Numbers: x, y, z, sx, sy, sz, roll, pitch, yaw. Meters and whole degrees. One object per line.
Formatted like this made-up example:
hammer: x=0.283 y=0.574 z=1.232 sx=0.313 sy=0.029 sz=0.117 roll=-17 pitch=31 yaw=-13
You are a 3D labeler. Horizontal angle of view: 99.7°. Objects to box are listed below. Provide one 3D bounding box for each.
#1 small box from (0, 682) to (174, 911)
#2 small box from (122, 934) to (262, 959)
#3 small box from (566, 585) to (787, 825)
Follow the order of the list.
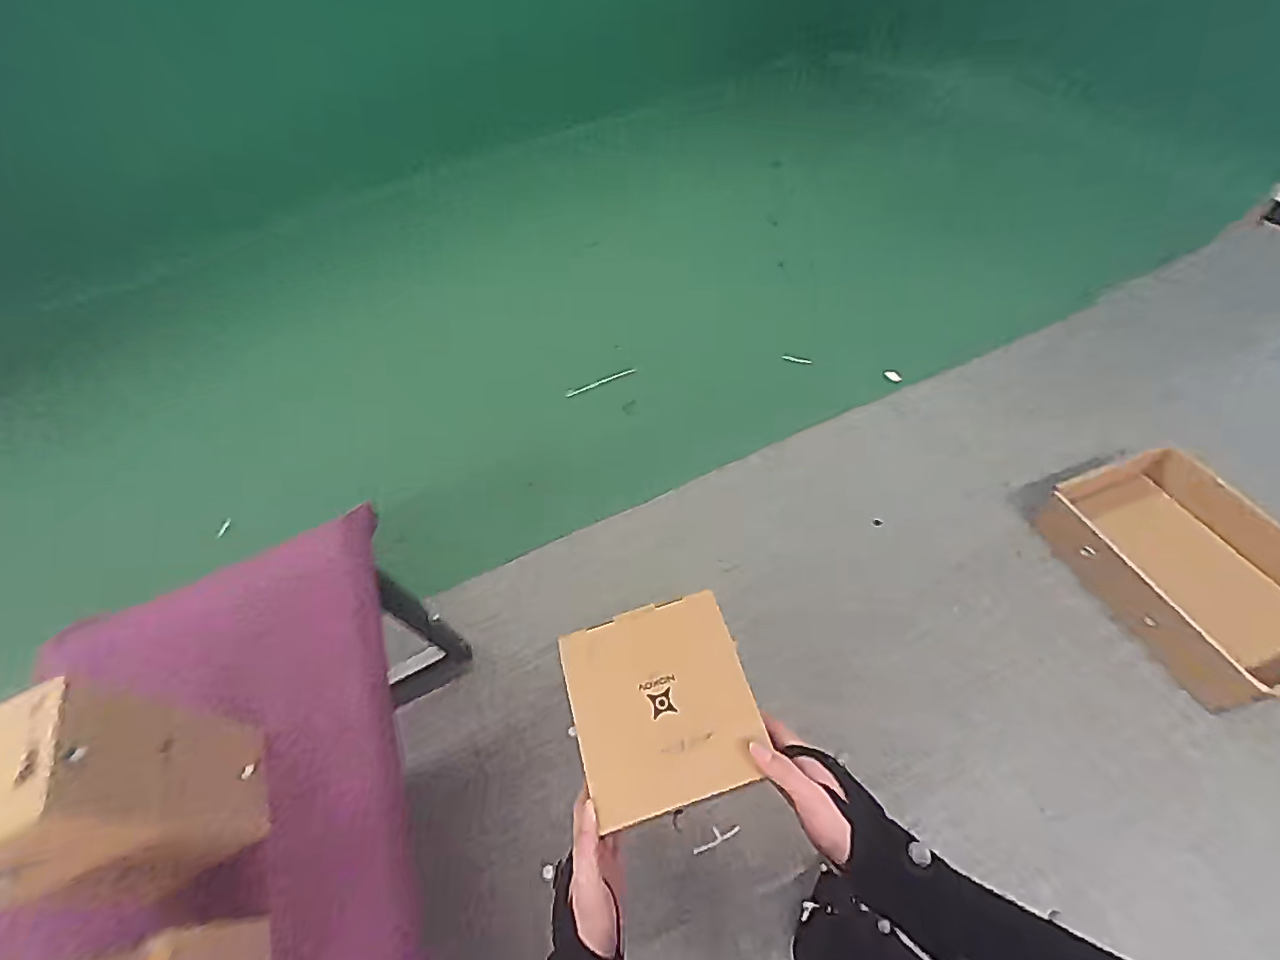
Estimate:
small box: x=-0.703 y=0.372 z=0.629 sx=0.179 sy=0.176 sz=0.168 roll=-28 pitch=55 yaw=-10
small box: x=-0.568 y=0.654 z=0.607 sx=0.179 sy=0.176 sz=0.168 roll=-25 pitch=54 yaw=-10
small box: x=0.032 y=0.238 z=0.562 sx=0.168 sy=0.176 sz=0.179 roll=-16 pitch=58 yaw=-4
